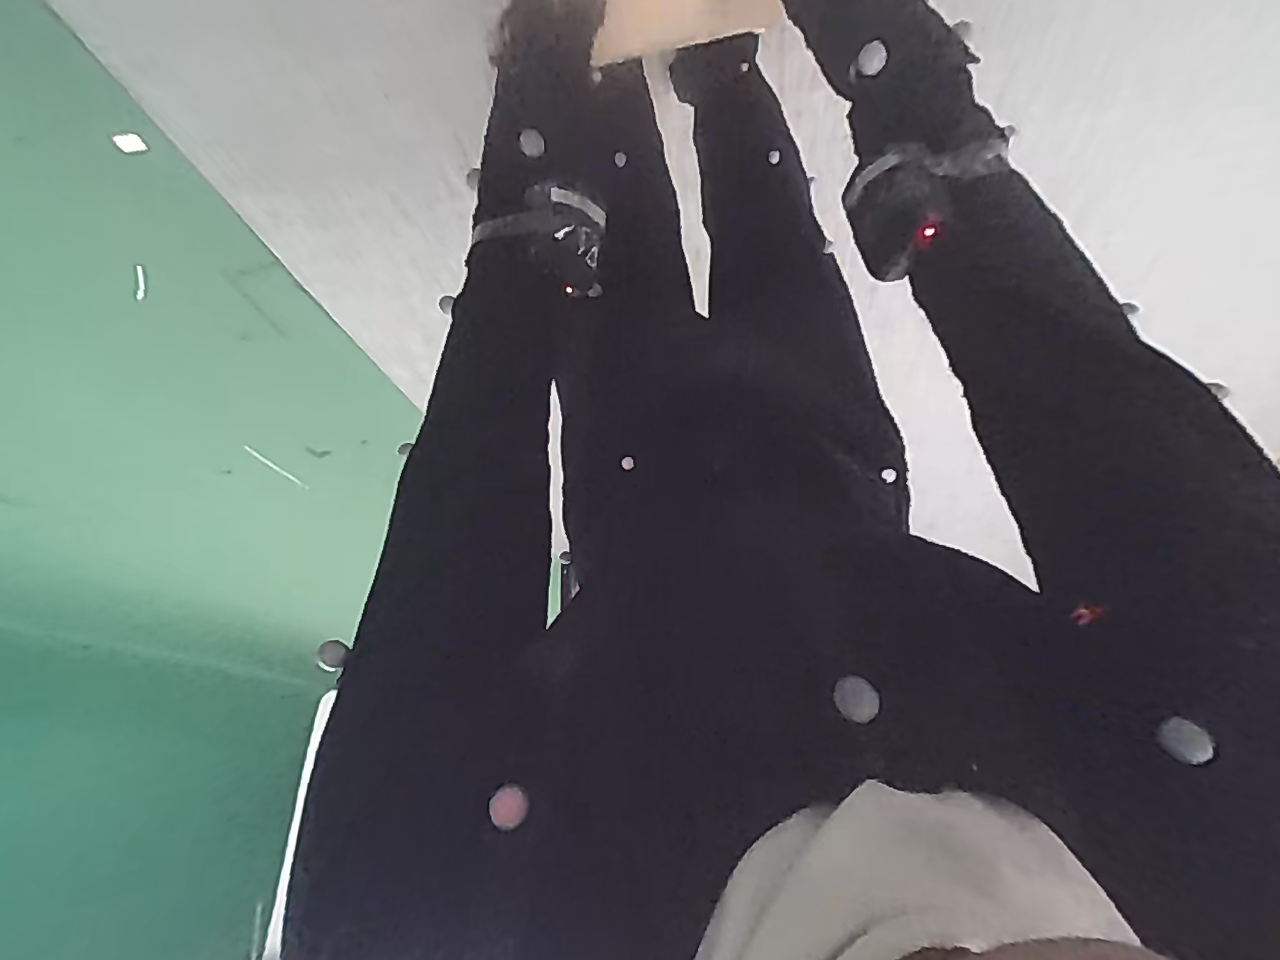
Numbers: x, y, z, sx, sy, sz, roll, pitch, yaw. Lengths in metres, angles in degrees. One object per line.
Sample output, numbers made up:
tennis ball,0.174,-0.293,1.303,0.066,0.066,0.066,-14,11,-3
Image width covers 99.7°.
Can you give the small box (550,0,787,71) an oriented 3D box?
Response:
small box,0.006,-0.444,0.389,0.179,0.176,0.168,-9,150,5
